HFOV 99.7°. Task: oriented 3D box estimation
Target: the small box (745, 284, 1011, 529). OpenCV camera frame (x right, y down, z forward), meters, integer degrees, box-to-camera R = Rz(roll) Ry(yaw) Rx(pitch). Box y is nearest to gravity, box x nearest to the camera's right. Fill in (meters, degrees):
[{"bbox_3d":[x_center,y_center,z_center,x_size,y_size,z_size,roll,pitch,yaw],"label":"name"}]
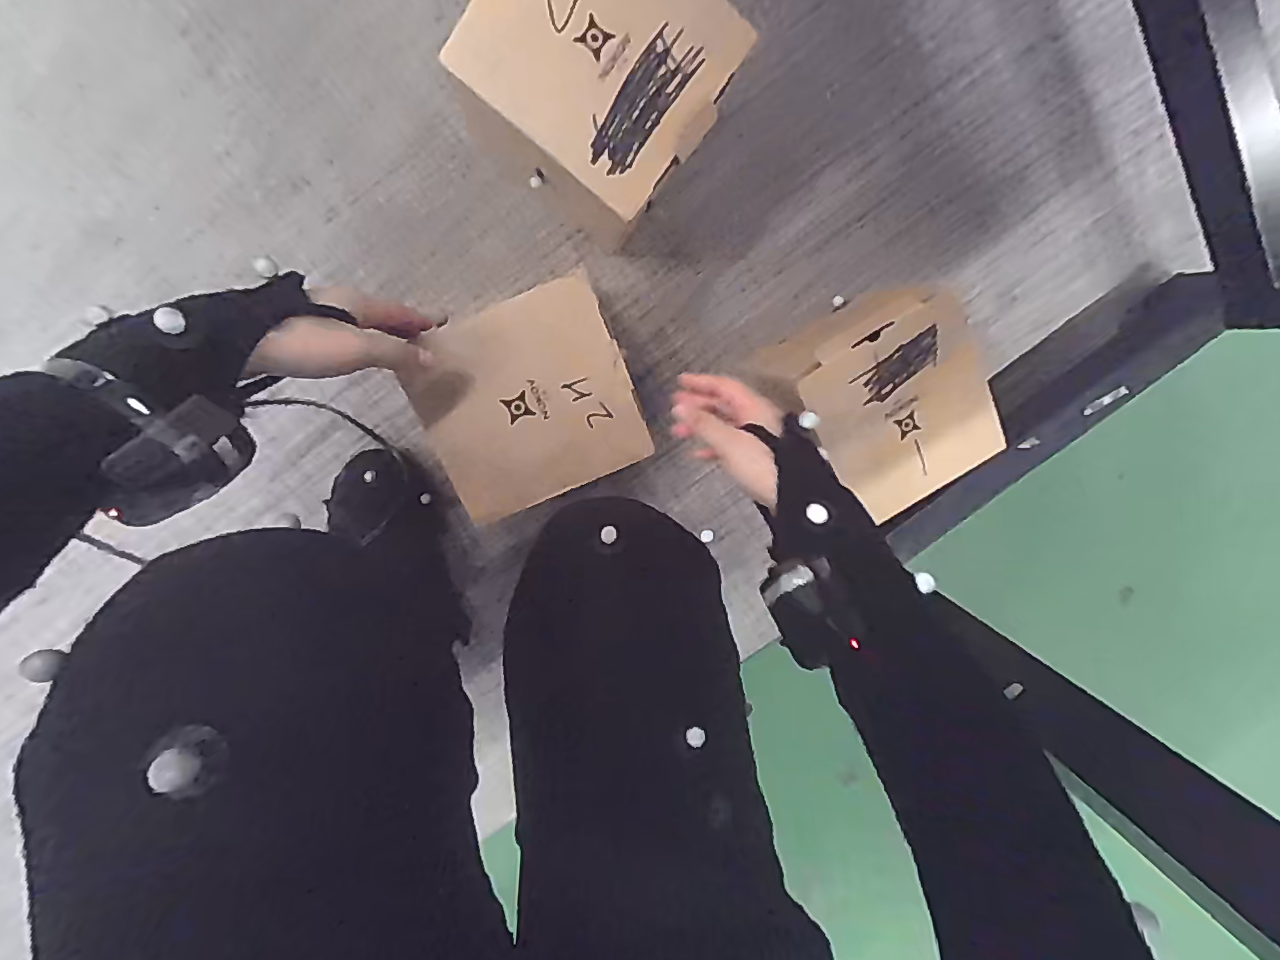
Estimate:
[{"bbox_3d":[0.235,-0.081,0.572,0.168,0.176,0.179,-31,107,1],"label":"small box"}]
